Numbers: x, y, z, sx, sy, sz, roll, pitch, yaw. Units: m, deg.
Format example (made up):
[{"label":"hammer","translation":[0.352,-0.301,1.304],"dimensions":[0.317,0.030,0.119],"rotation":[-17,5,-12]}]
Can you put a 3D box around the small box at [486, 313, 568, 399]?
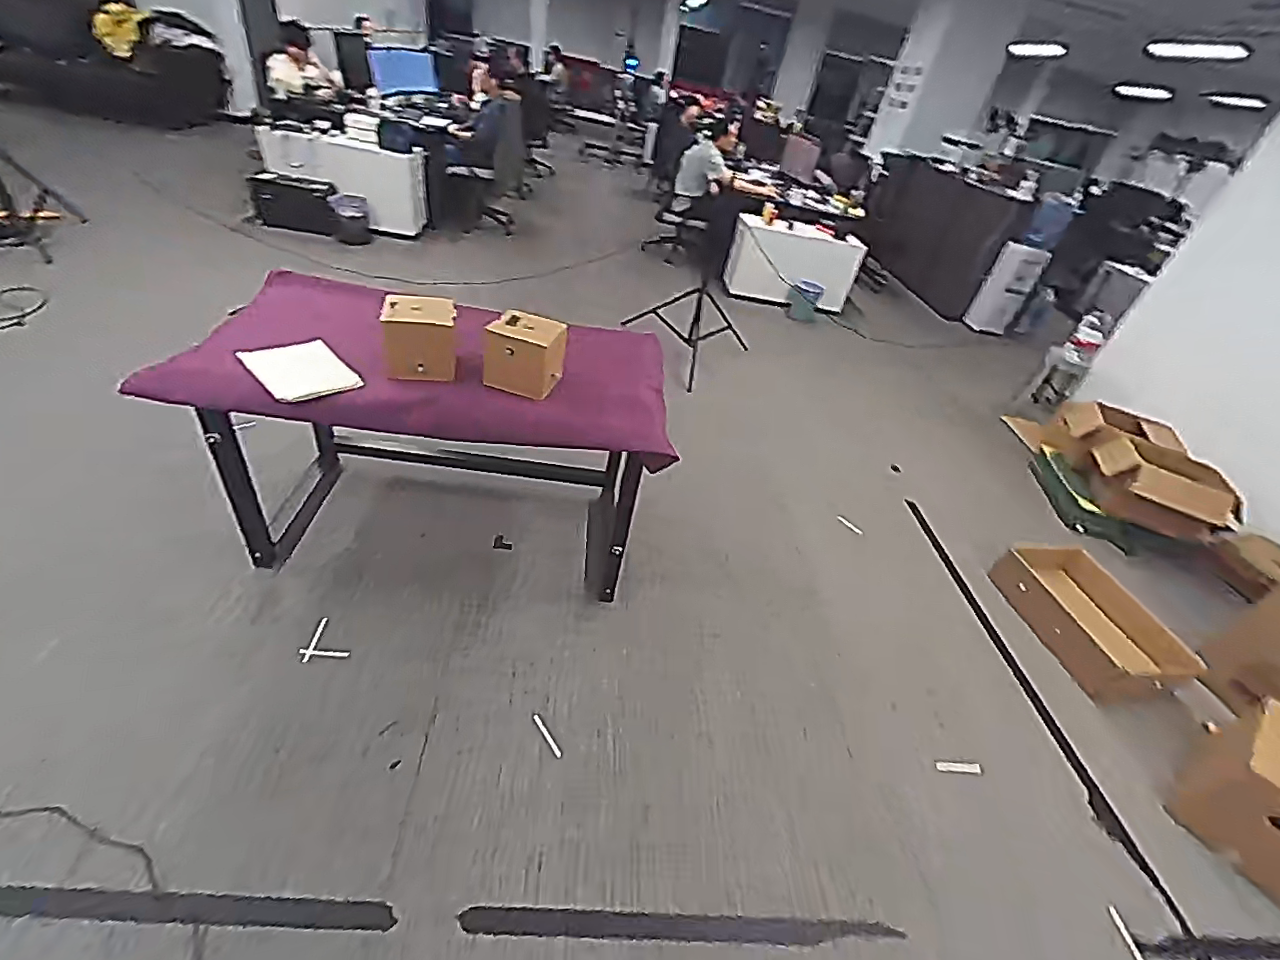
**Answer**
[{"label":"small box","translation":[-0.317,-0.346,1.518],"dimensions":[0.179,0.176,0.168],"rotation":[17,37,4]}]

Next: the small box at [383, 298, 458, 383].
[{"label":"small box","translation":[-0.593,-0.379,1.482],"dimensions":[0.179,0.176,0.168],"rotation":[0,39,-17]}]
